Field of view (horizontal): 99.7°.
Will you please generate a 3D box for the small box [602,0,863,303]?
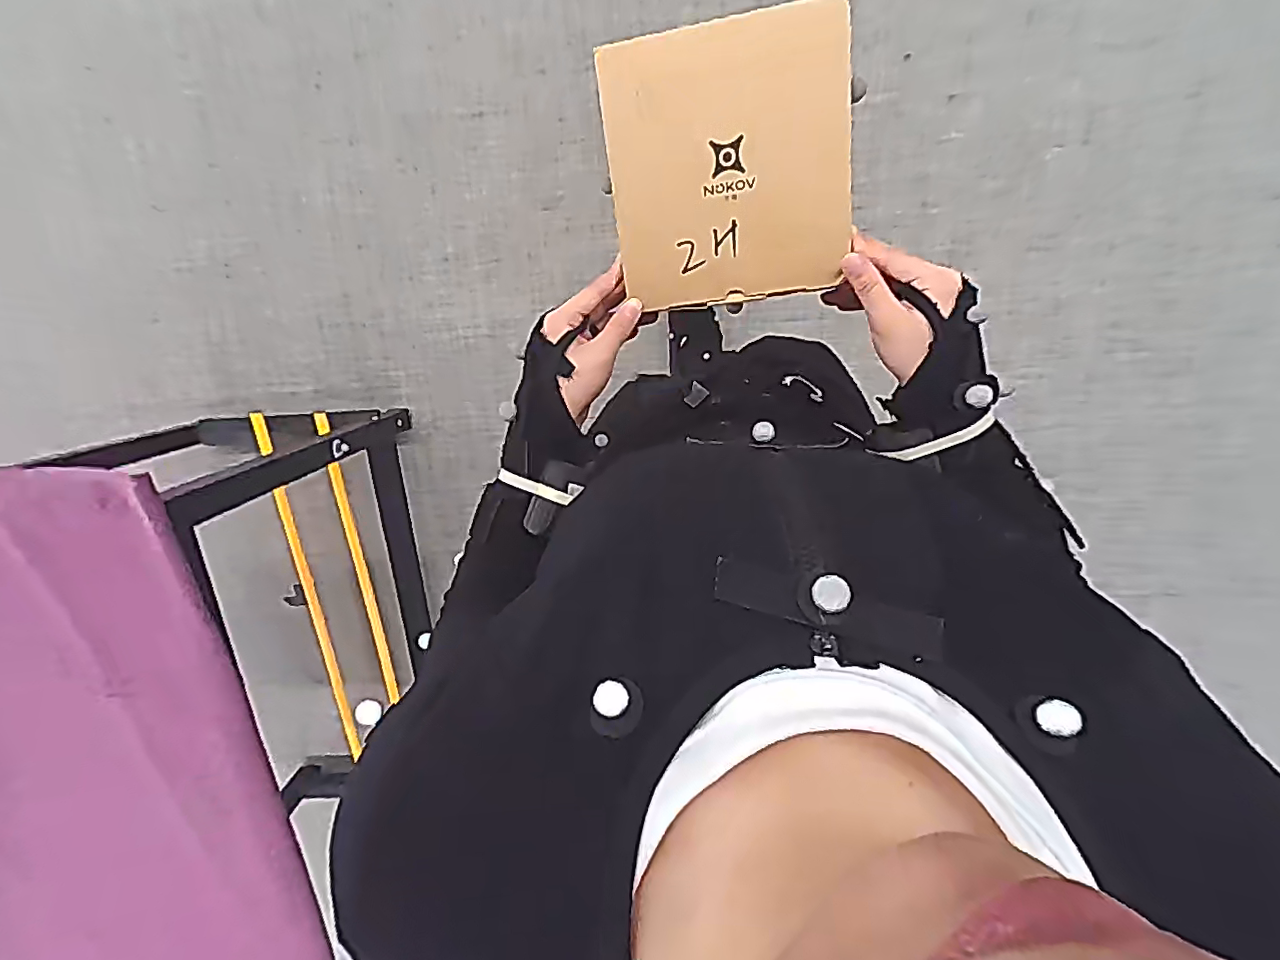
[{"bbox_3d":[0.075,-0.246,0.438,0.168,0.176,0.179,-4,110,11],"label":"small box"}]
